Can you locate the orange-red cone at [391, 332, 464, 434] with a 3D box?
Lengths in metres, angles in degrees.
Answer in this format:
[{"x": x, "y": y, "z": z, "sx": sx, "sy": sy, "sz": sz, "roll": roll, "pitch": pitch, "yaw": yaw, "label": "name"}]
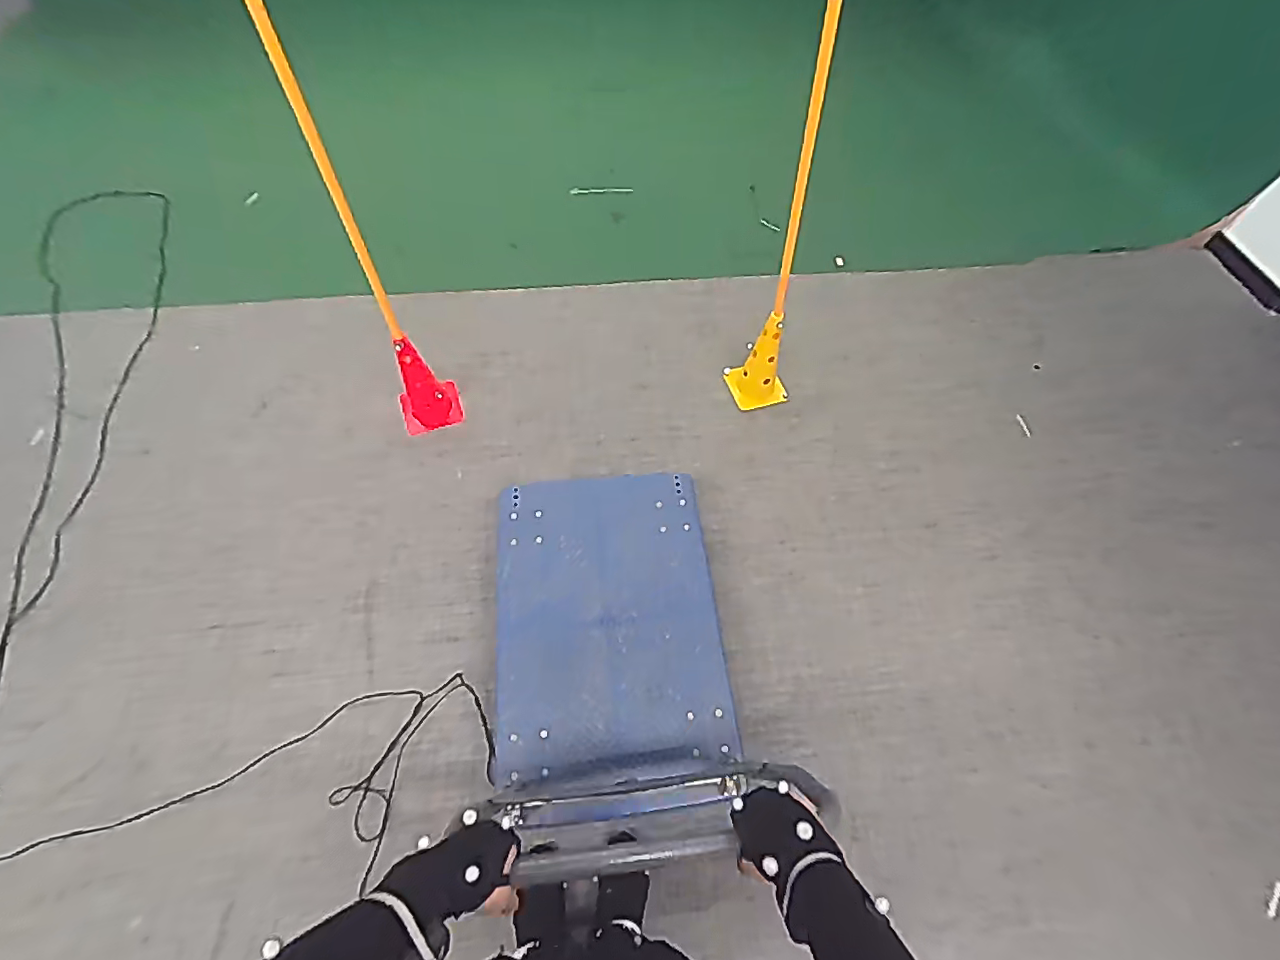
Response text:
[{"x": -0.739, "y": -0.345, "z": 1.783, "sx": 0.199, "sy": 0.360, "sz": 0.198, "roll": -18, "pitch": 62, "yaw": -11, "label": "orange-red cone"}]
